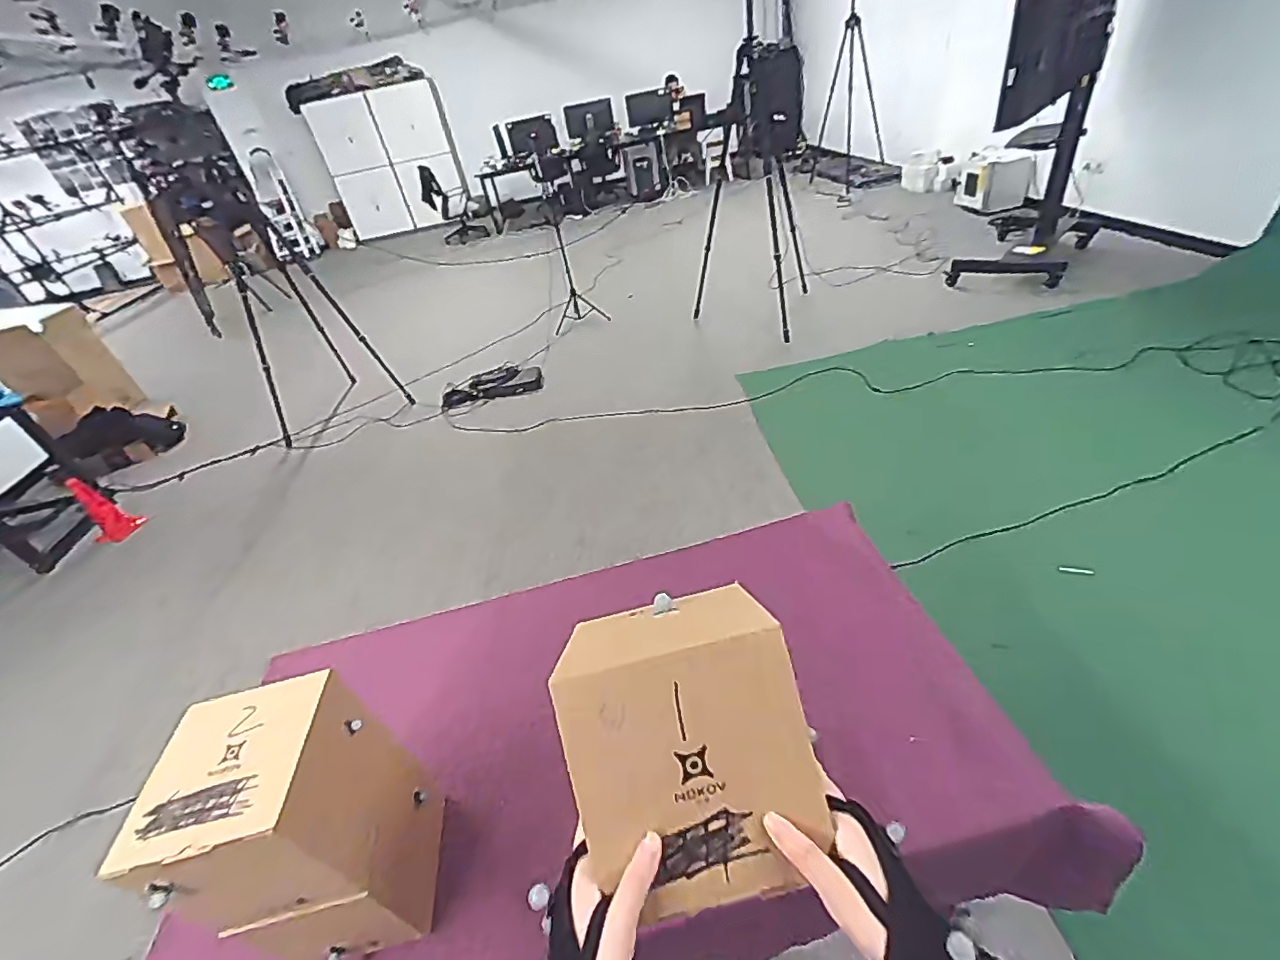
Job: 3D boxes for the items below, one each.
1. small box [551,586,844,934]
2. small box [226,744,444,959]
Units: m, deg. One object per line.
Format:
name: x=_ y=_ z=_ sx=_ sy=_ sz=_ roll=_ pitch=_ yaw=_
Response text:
small box: x=0.040 y=0.201 z=0.440 sx=0.168 sy=0.179 sz=0.176 roll=-14 pitch=-1 yaw=0
small box: x=-0.370 y=0.483 z=0.701 sx=0.168 sy=0.176 sz=0.179 roll=-14 pitch=38 yaw=-1
